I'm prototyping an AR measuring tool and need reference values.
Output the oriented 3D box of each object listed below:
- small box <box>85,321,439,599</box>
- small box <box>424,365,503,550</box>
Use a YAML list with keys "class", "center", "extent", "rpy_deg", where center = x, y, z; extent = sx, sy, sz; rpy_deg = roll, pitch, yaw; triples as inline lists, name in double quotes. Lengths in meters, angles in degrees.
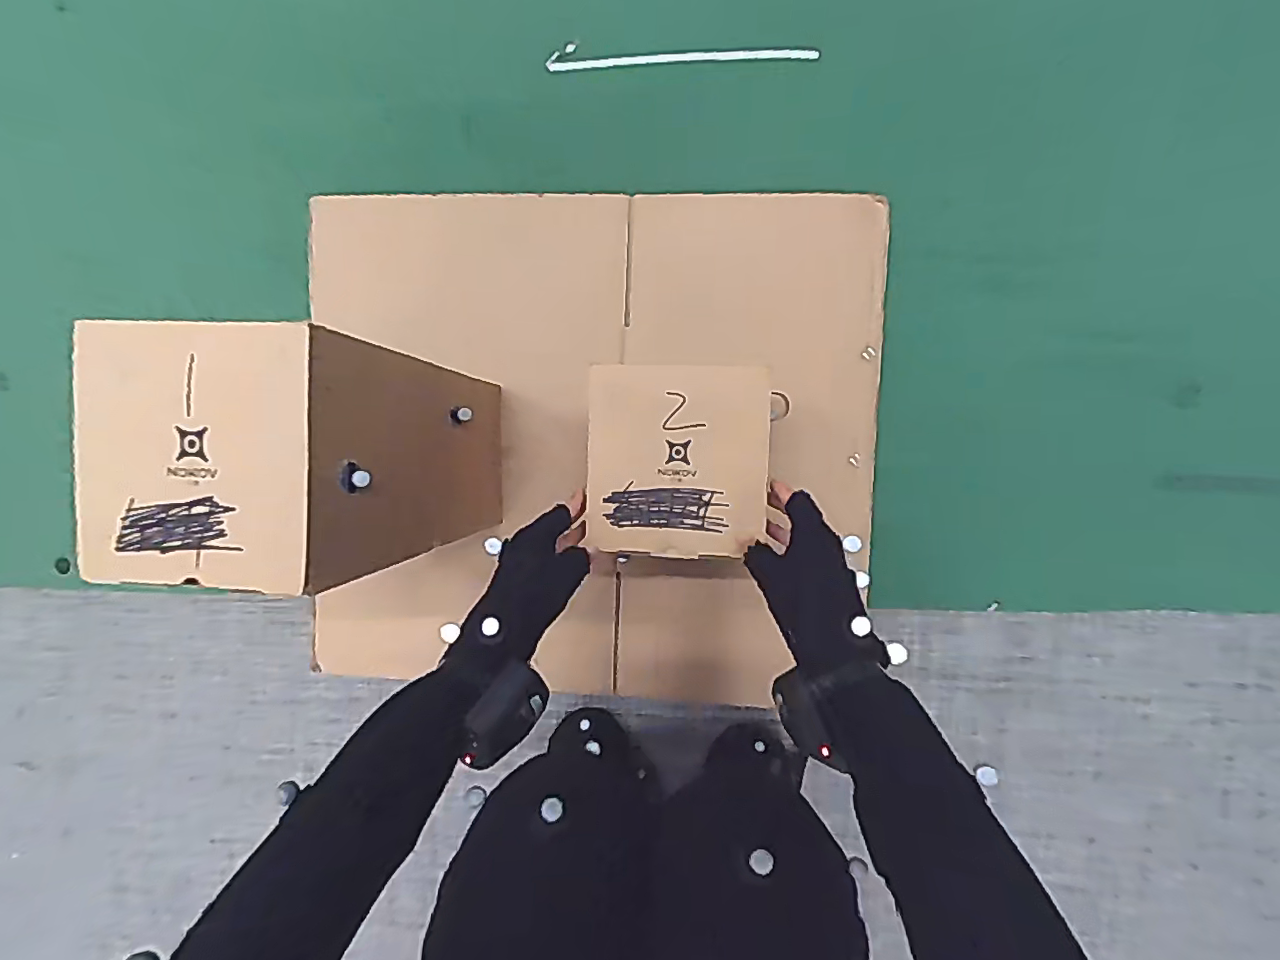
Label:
- class: "small box"
  center: [-0.276, -0.018, 0.430]
  extent: [0.168, 0.176, 0.179]
  rpy_deg: [3, 92, 6]
- class: "small box"
  center: [-0.258, -0.026, 0.593]
  extent: [0.168, 0.176, 0.179]
  rpy_deg: [1, 94, 6]
